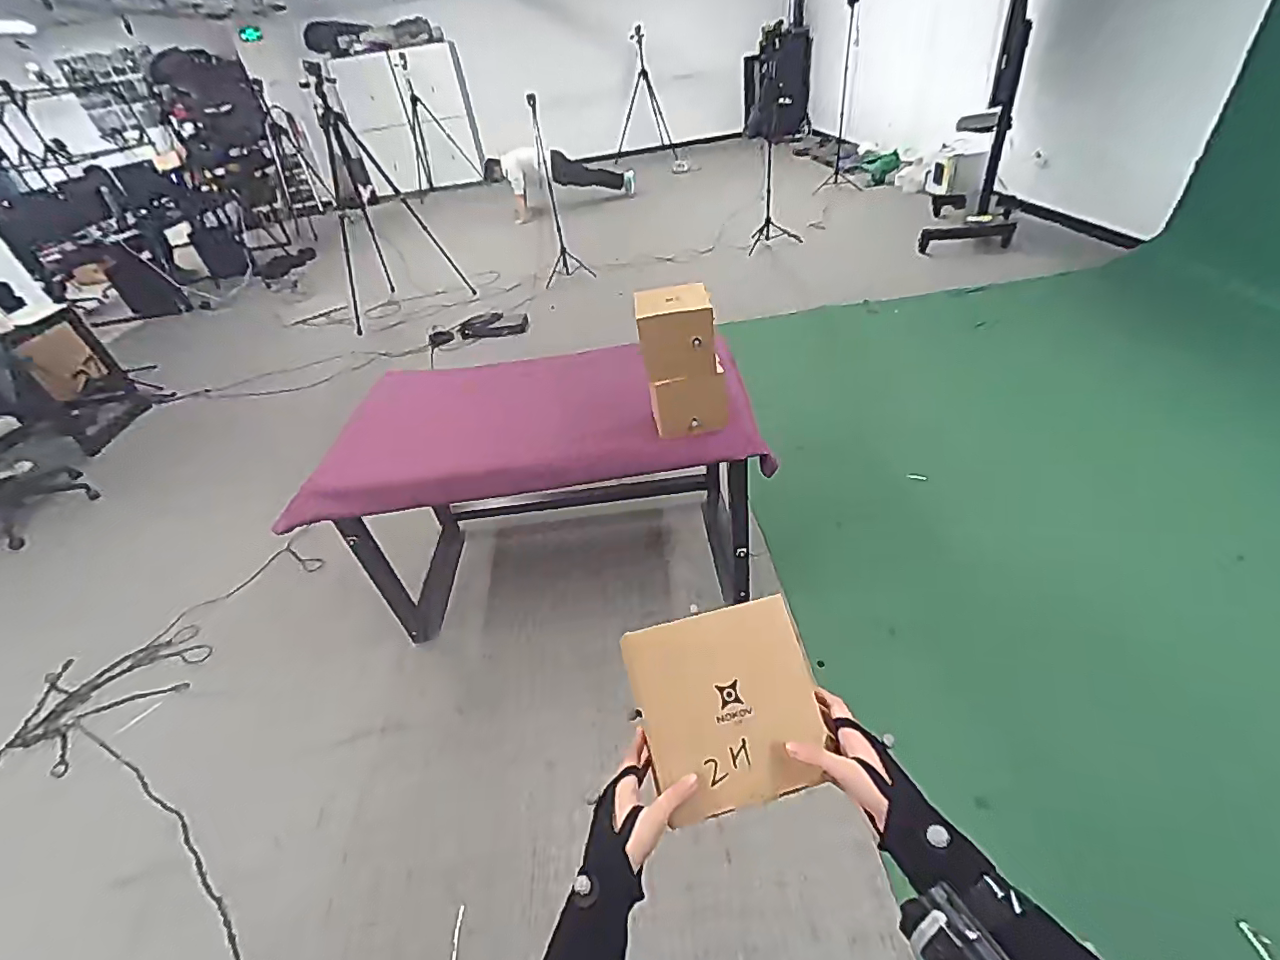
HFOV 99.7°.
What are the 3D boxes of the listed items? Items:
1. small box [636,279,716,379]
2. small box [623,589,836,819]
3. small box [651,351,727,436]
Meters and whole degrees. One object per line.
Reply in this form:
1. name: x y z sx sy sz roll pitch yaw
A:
1. small box: 0.089 -0.363 1.309 0.179 0.176 0.168 -8 39 5
2. small box: 0.079 0.232 0.589 0.168 0.176 0.179 -12 73 -7
3. small box: 0.124 -0.235 1.406 0.179 0.176 0.168 -11 39 -1
